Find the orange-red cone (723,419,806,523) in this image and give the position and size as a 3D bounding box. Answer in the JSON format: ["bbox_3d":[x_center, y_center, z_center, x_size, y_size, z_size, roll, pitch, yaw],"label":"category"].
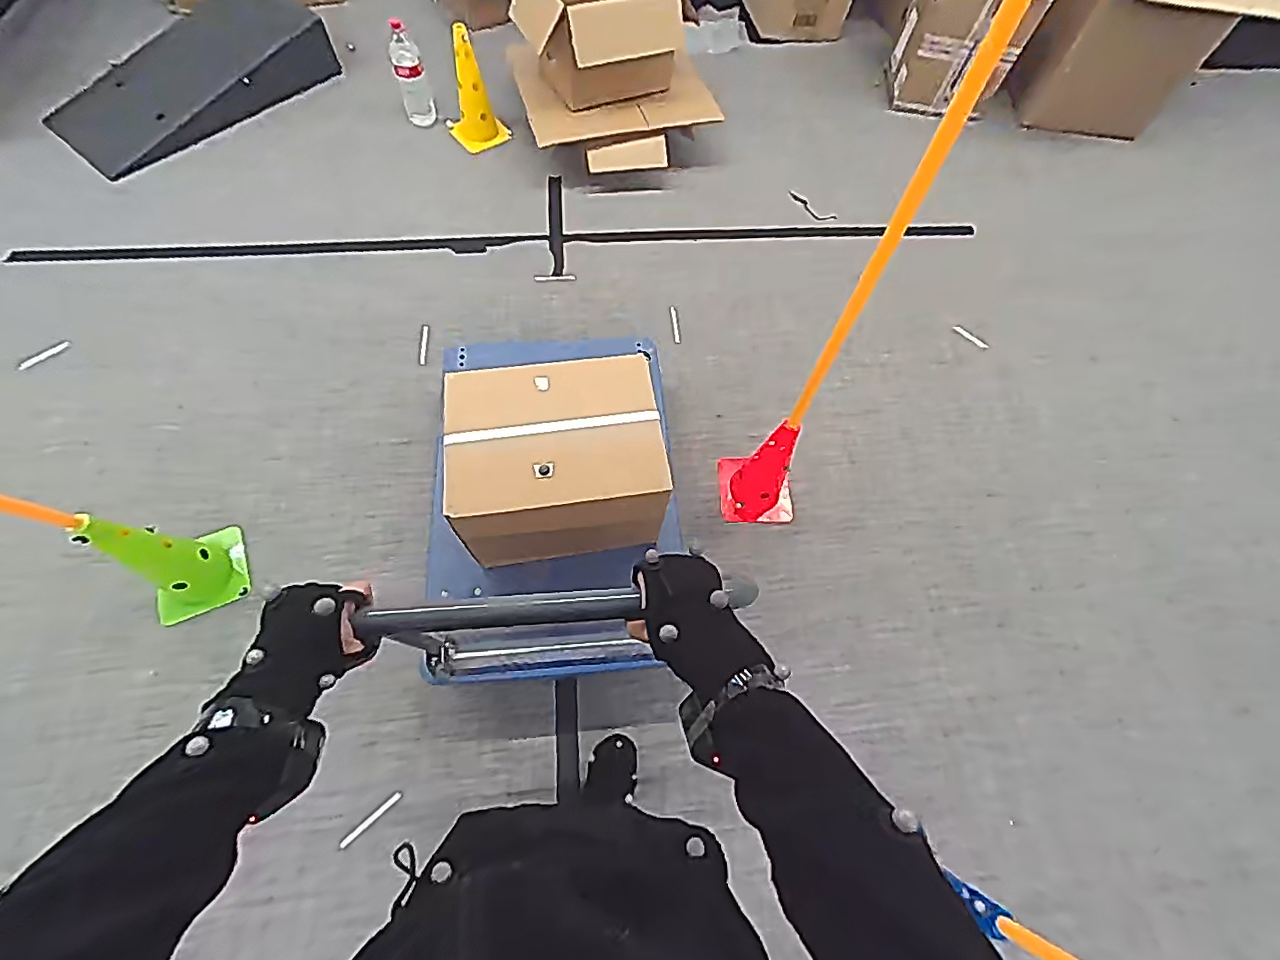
[{"bbox_3d":[0.344,-0.047,1.368,0.199,0.360,0.198,3,65,-4],"label":"orange-red cone"}]
